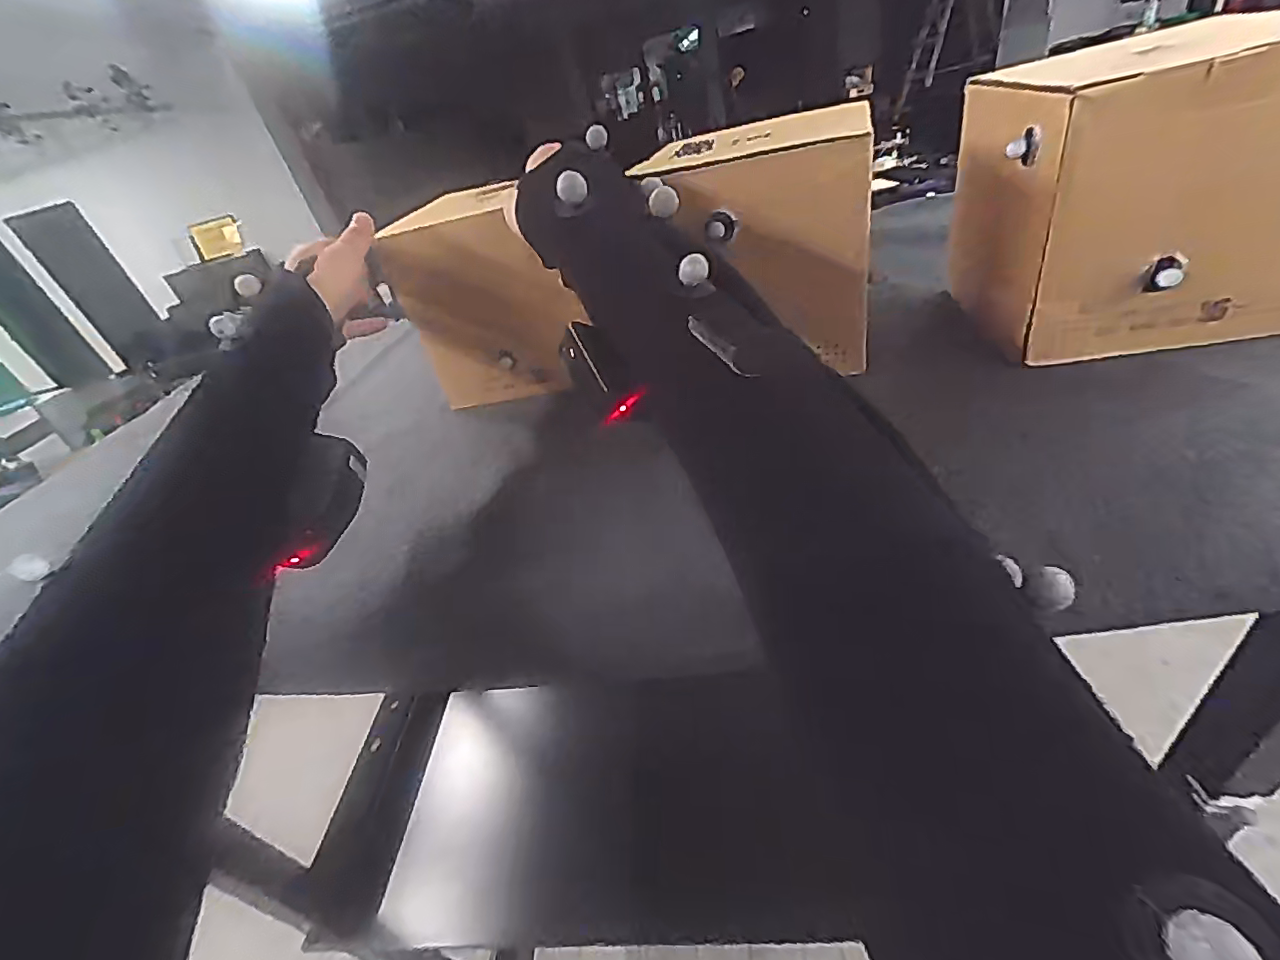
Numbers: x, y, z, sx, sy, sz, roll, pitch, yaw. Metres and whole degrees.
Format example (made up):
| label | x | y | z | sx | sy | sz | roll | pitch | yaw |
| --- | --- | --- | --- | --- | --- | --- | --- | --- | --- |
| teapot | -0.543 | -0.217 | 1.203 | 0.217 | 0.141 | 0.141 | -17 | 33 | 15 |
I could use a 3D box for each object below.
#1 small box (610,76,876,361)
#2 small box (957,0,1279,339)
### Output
| label | x | y | z | sx | sy | sz | roll | pitch | yaw |
| --- | --- | --- | --- | --- | --- | --- | --- | --- | --- |
| small box | 0.100 | -0.209 | 0.450 | 0.179 | 0.176 | 0.168 | 2 | 39 | 22 |
| small box | 0.337 | -0.215 | 0.369 | 0.168 | 0.176 | 0.179 | -6 | 37 | 14 |
